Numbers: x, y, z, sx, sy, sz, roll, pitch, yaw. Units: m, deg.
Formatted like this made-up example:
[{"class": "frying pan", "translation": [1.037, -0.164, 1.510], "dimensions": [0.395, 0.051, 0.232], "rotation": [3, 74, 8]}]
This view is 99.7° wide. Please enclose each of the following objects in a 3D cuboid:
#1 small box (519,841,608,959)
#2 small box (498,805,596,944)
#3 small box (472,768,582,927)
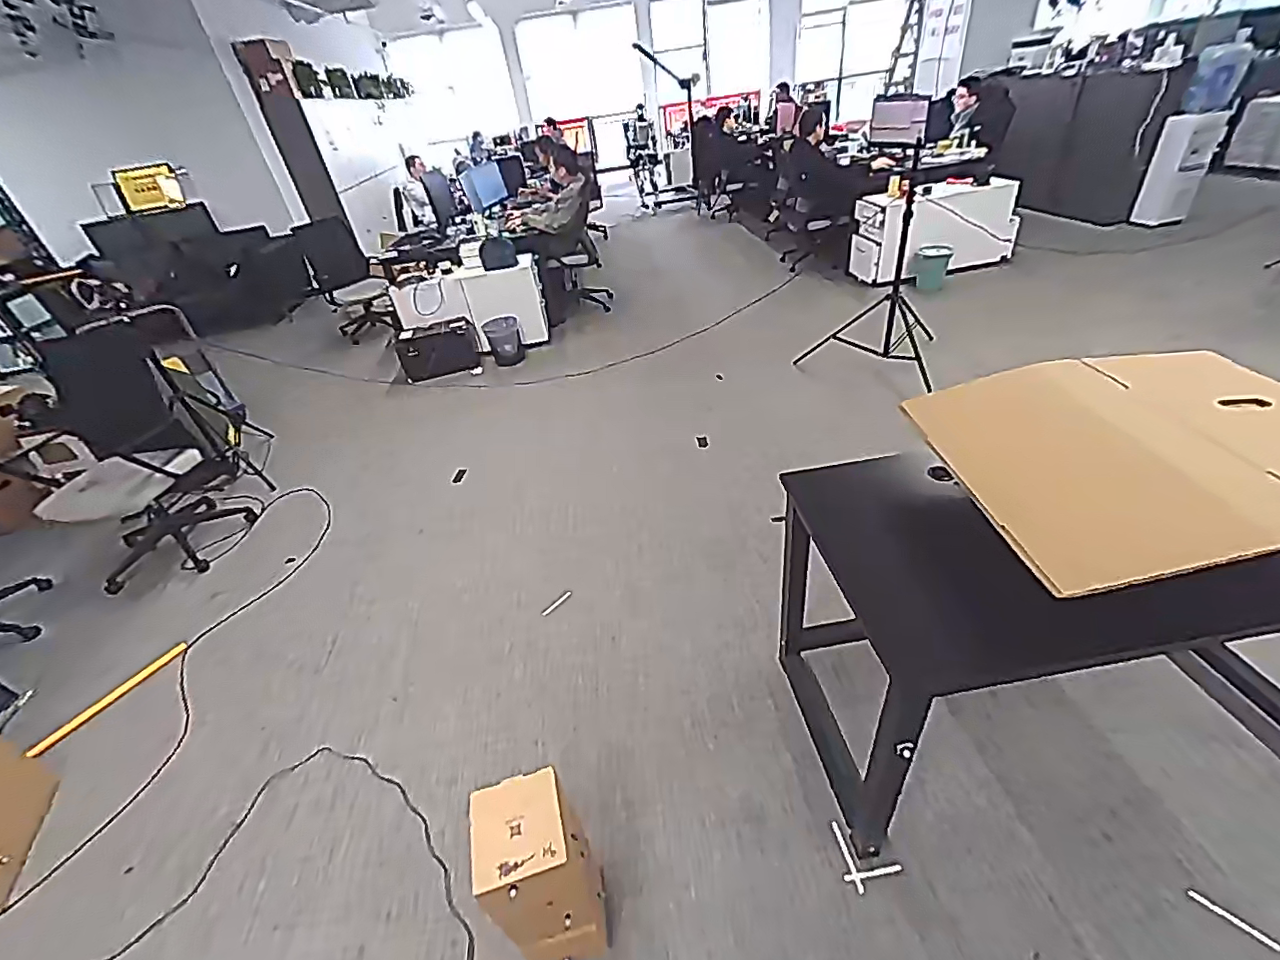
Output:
[{"class": "small box", "translation": [-0.172, 0.960, 1.218], "dimensions": [0.168, 0.176, 0.179], "rotation": [-12, 37, -4]}, {"class": "small box", "translation": [-0.196, 0.827, 1.128], "dimensions": [0.168, 0.176, 0.179], "rotation": [-13, 35, -7]}, {"class": "small box", "translation": [-0.215, 0.697, 1.029], "dimensions": [0.168, 0.176, 0.179], "rotation": [-15, 35, -9]}]
